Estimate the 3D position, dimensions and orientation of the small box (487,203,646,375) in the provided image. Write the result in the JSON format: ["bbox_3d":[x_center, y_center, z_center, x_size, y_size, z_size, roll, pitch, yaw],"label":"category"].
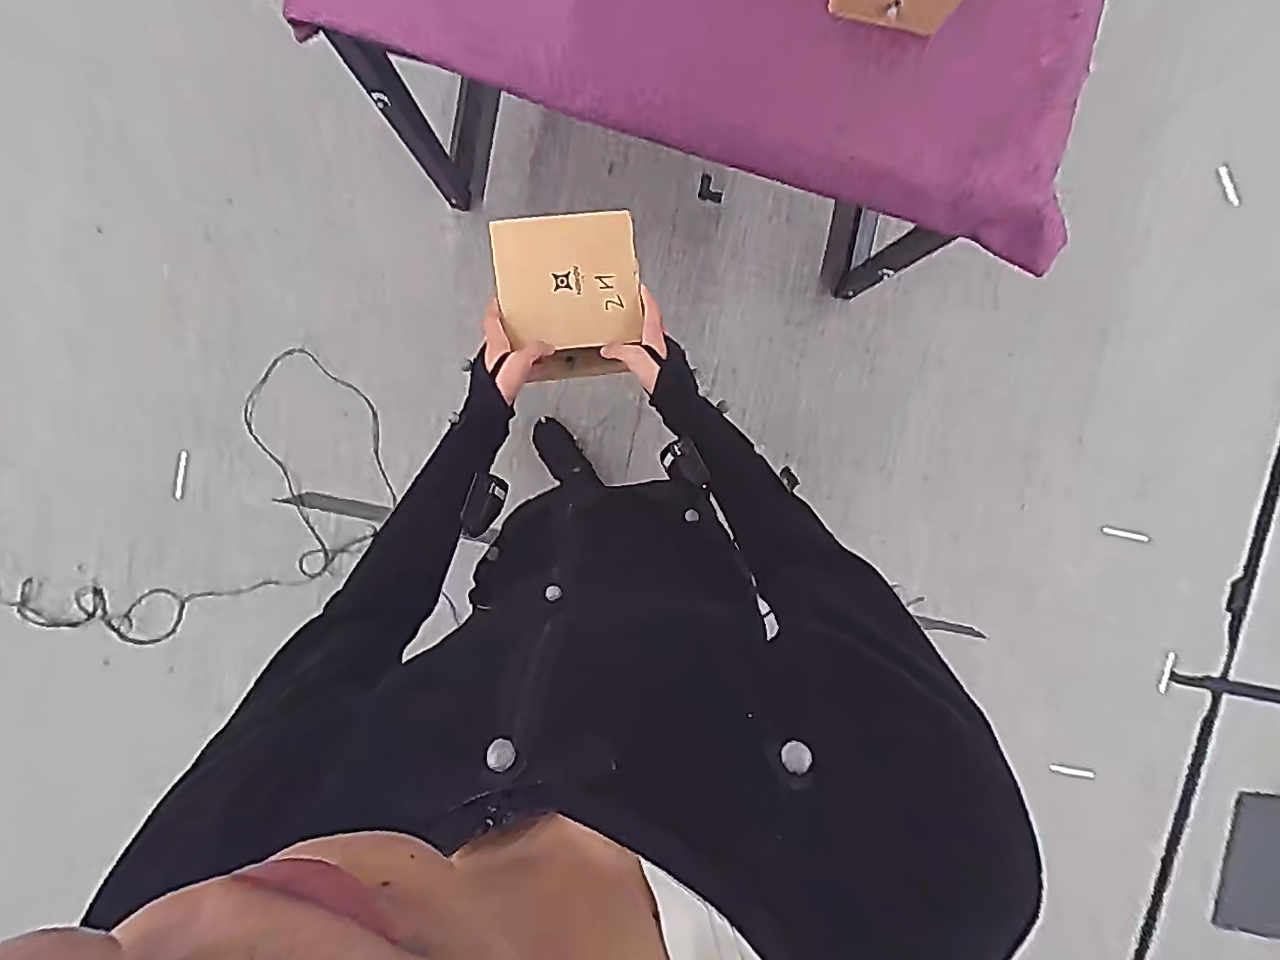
[{"bbox_3d":[-0.093,-0.242,0.722,0.179,0.176,0.168,-7,90,-6],"label":"small box"}]

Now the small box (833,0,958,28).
[{"bbox_3d":[0.395,-0.779,0.747,0.179,0.176,0.168,8,94,-4],"label":"small box"}]
